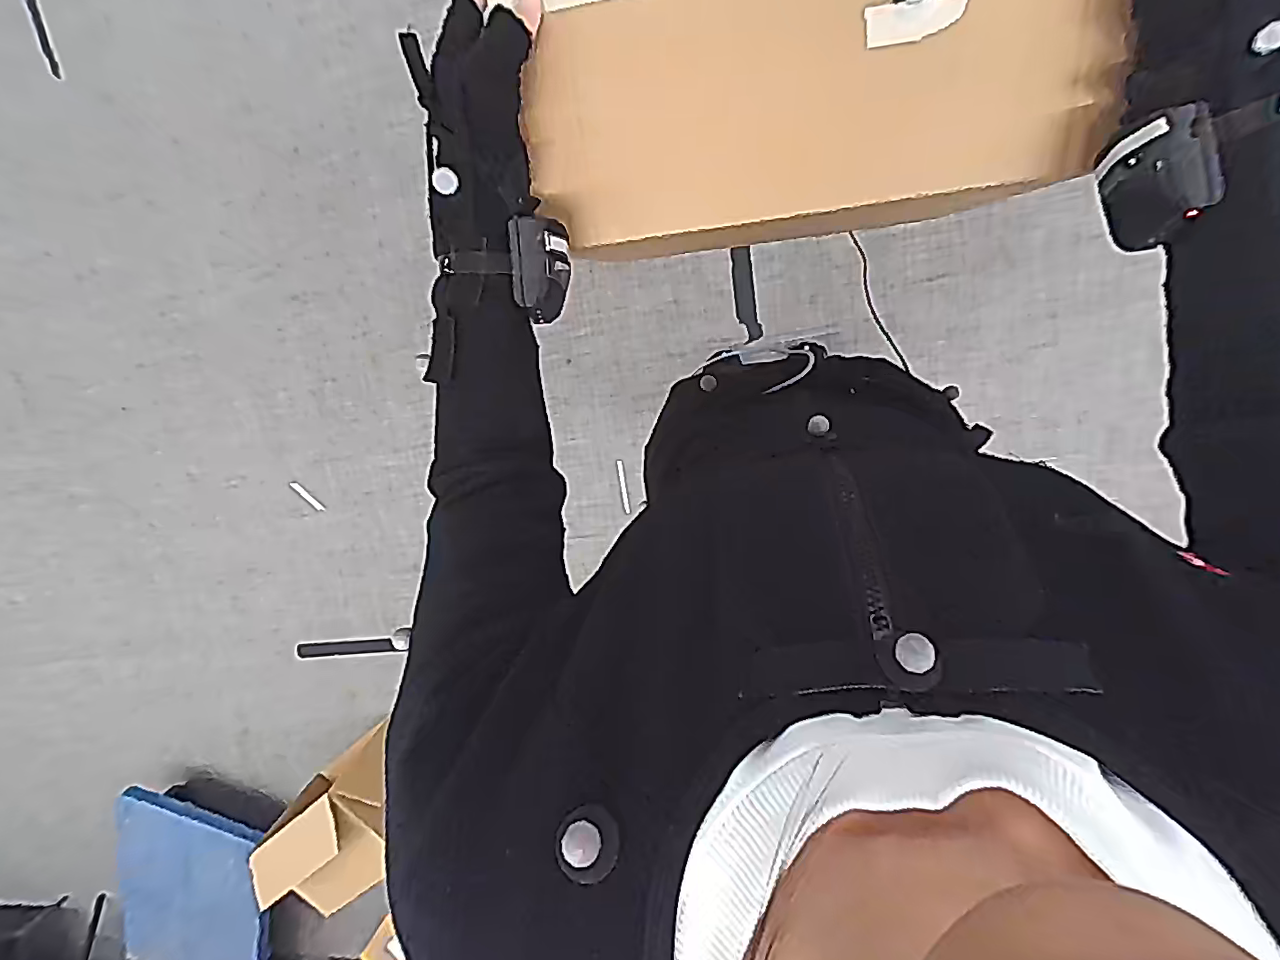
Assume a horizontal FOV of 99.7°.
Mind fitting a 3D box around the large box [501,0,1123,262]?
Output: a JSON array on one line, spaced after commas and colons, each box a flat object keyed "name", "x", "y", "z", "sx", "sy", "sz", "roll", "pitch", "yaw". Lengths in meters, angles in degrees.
[{"name": "large box", "x": 0.113, "y": -0.396, "z": 0.486, "sx": 0.408, "sy": 0.320, "sz": 0.320, "roll": -5, "pitch": 110, "yaw": 9}]
